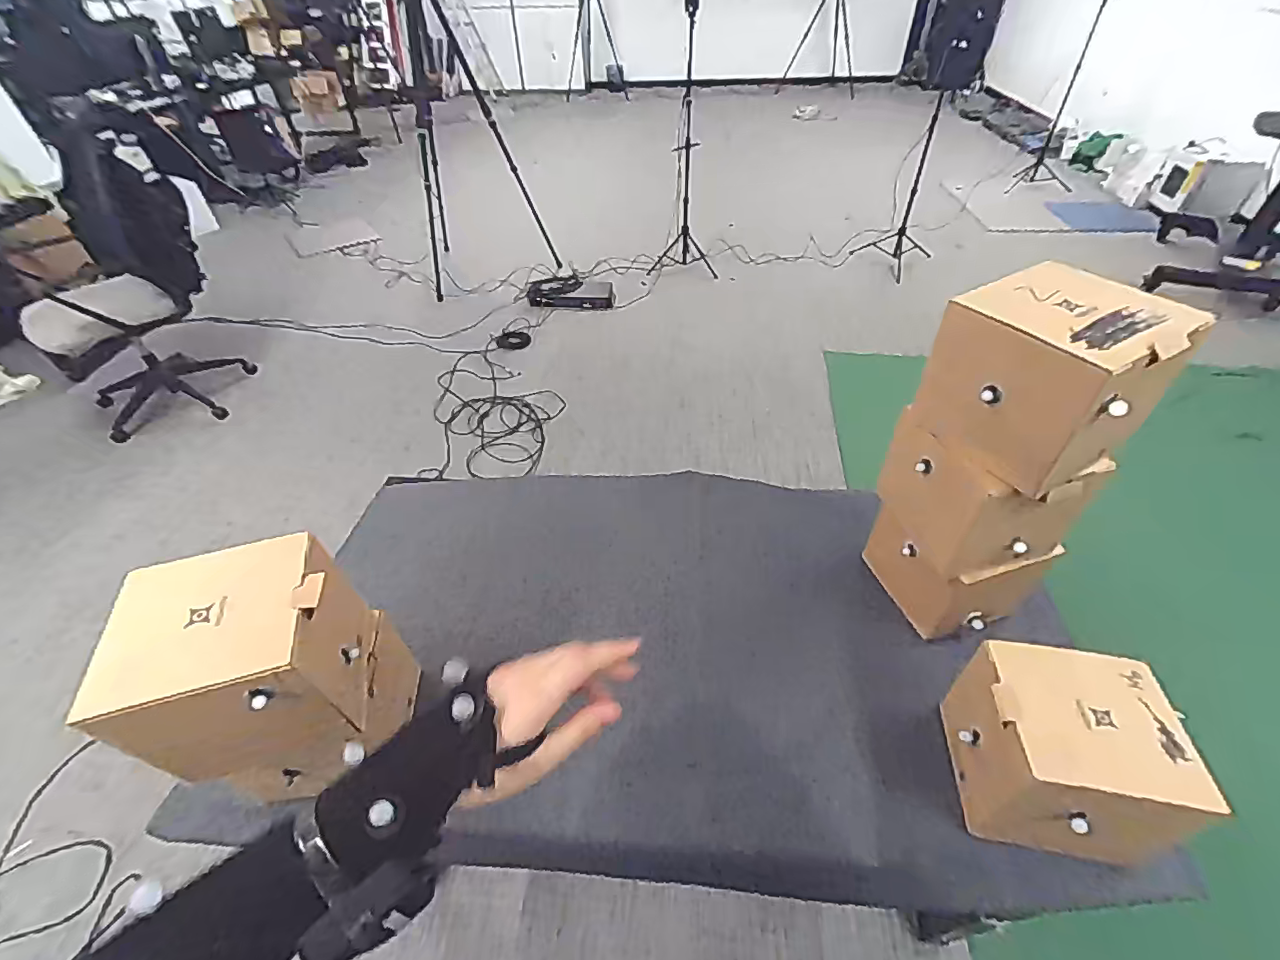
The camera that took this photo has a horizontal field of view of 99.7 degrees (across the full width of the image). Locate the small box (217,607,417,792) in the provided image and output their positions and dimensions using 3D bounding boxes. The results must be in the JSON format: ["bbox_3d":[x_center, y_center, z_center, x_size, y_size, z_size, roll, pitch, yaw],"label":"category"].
[{"bbox_3d":[-0.410,0.285,0.700,0.179,0.176,0.168,-6,46,-3],"label":"small box"}]

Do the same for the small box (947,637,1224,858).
[{"bbox_3d":[0.484,0.311,0.631,0.179,0.176,0.168,6,42,10],"label":"small box"}]

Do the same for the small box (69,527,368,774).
[{"bbox_3d":[-0.413,0.182,0.574,0.179,0.176,0.168,-14,47,-12],"label":"small box"}]

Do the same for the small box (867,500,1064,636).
[{"bbox_3d":[0.483,0.110,0.839,0.168,0.176,0.179,-15,48,-9],"label":"small box"}]

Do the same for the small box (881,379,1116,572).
[{"bbox_3d":[0.453,-0.006,0.724,0.168,0.176,0.179,-12,46,-5],"label":"small box"}]
